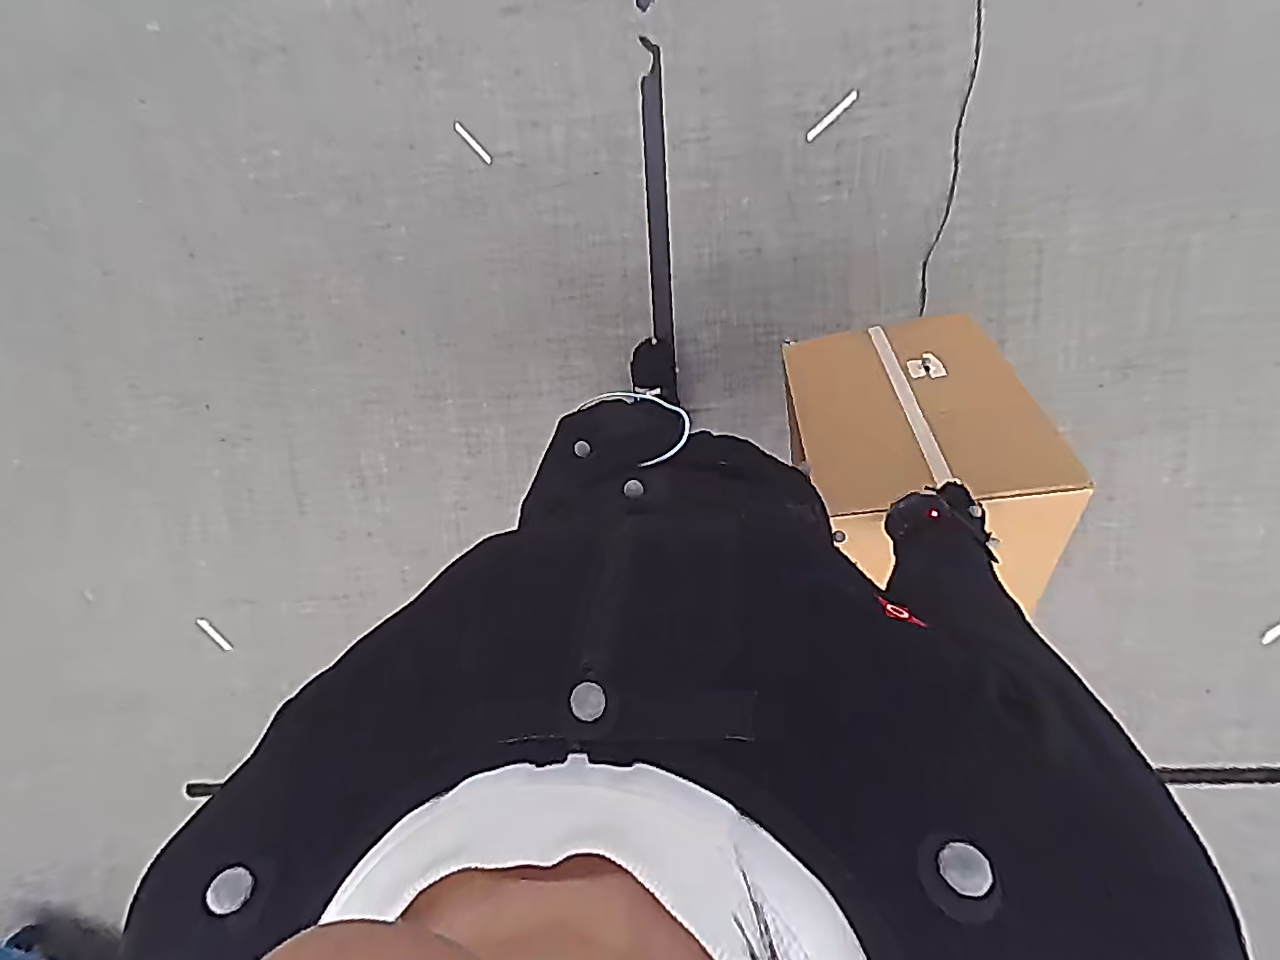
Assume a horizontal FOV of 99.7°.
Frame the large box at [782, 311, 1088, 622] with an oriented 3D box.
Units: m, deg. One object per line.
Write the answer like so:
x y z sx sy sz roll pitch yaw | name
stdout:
0.433 -0.022 0.911 0.320 0.408 0.320 -7 135 11 | large box
